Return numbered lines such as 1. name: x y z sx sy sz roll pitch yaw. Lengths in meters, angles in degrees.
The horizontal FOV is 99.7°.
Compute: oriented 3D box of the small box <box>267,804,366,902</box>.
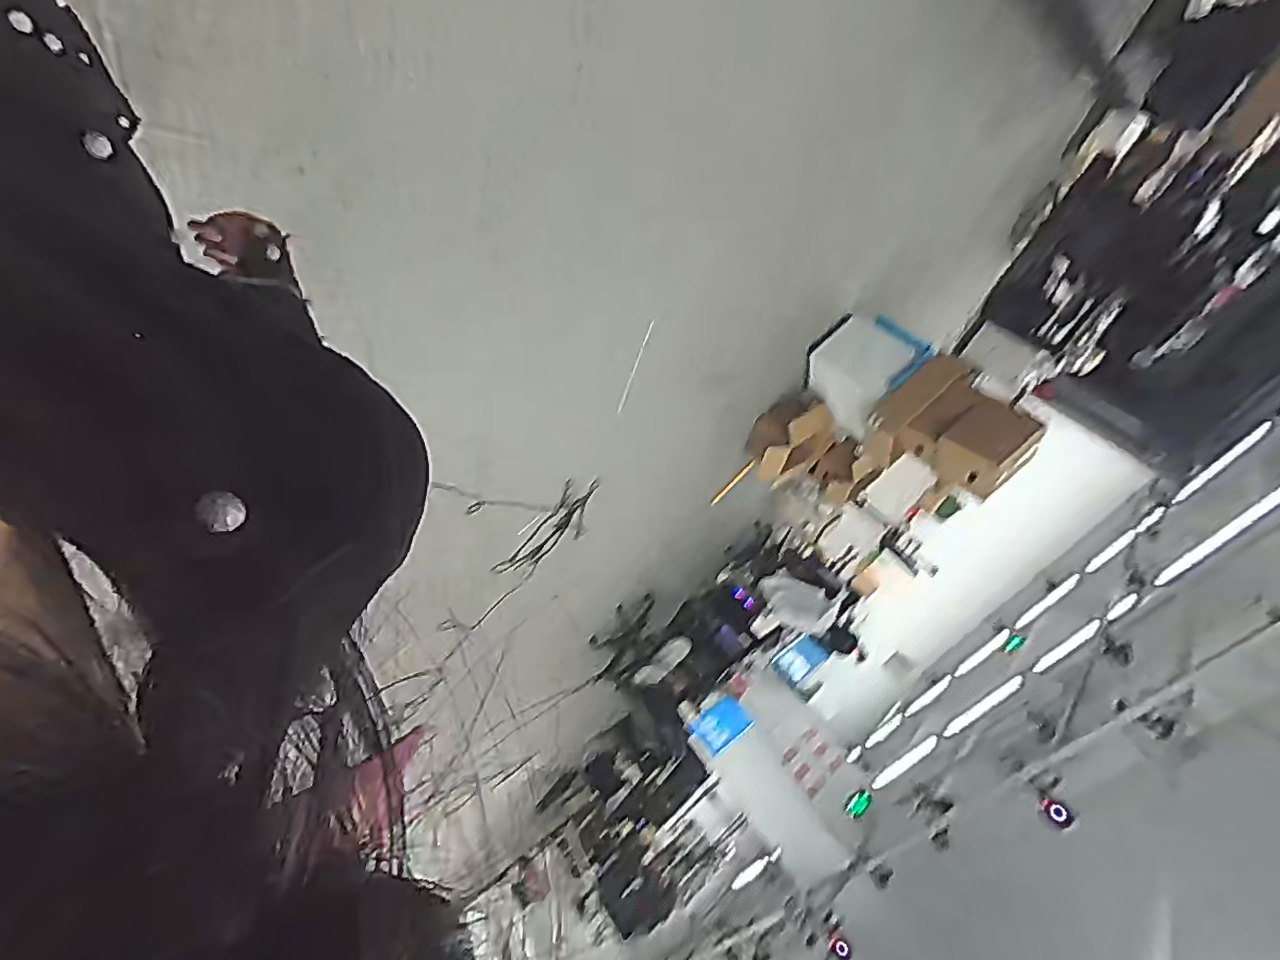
1. small box: -0.951 1.095 1.593 0.179 0.176 0.168 -30 150 -24
